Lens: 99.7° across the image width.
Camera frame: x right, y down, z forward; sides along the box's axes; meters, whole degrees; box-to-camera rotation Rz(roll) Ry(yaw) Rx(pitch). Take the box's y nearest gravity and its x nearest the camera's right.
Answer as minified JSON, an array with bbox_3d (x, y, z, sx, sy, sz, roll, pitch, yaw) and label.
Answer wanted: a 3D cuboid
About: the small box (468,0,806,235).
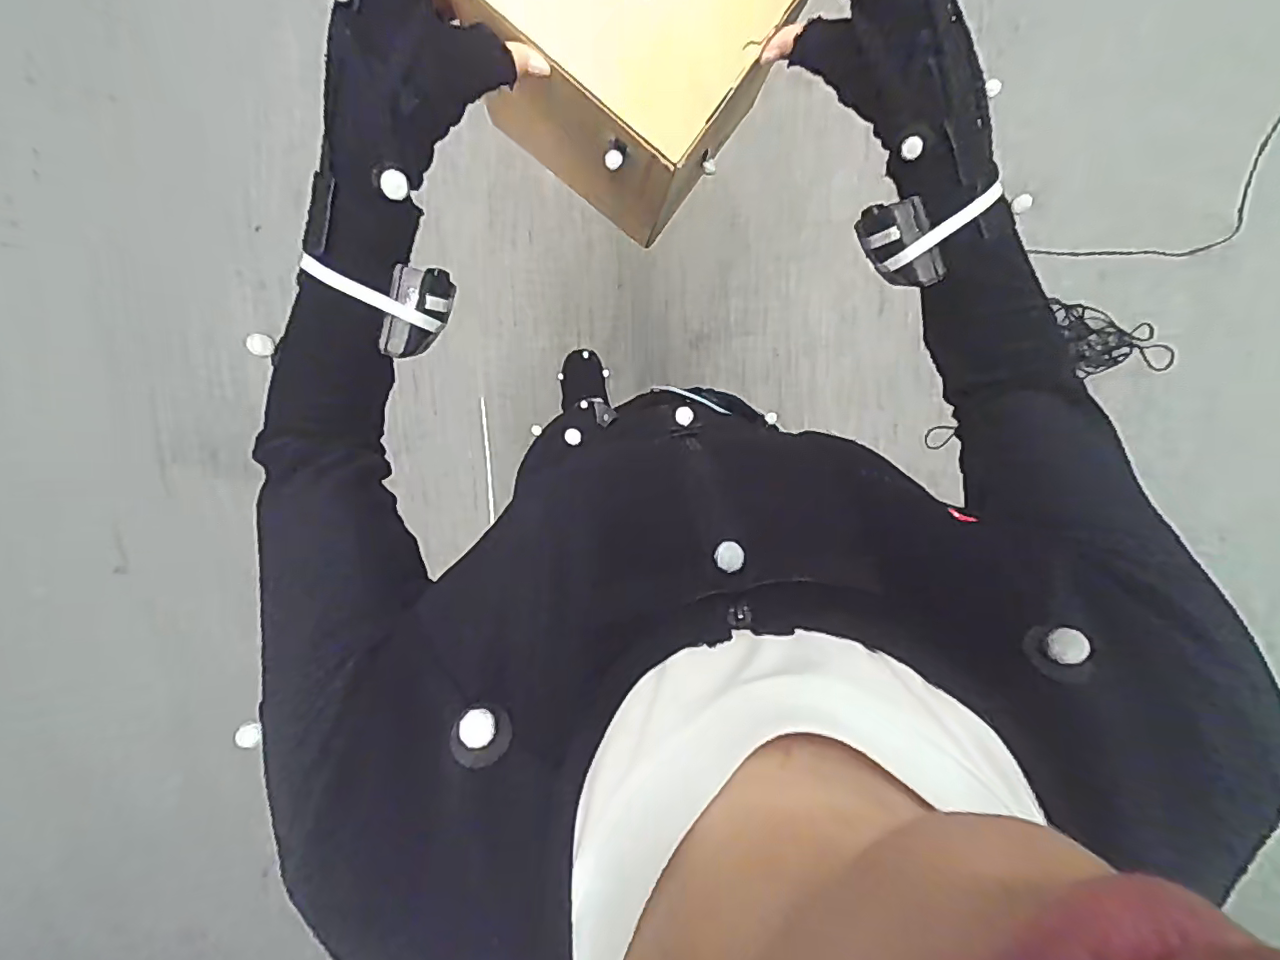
[{"bbox_3d":[-0.010,-0.323,0.409,0.179,0.176,0.168,37,90,-11],"label":"small box"}]
